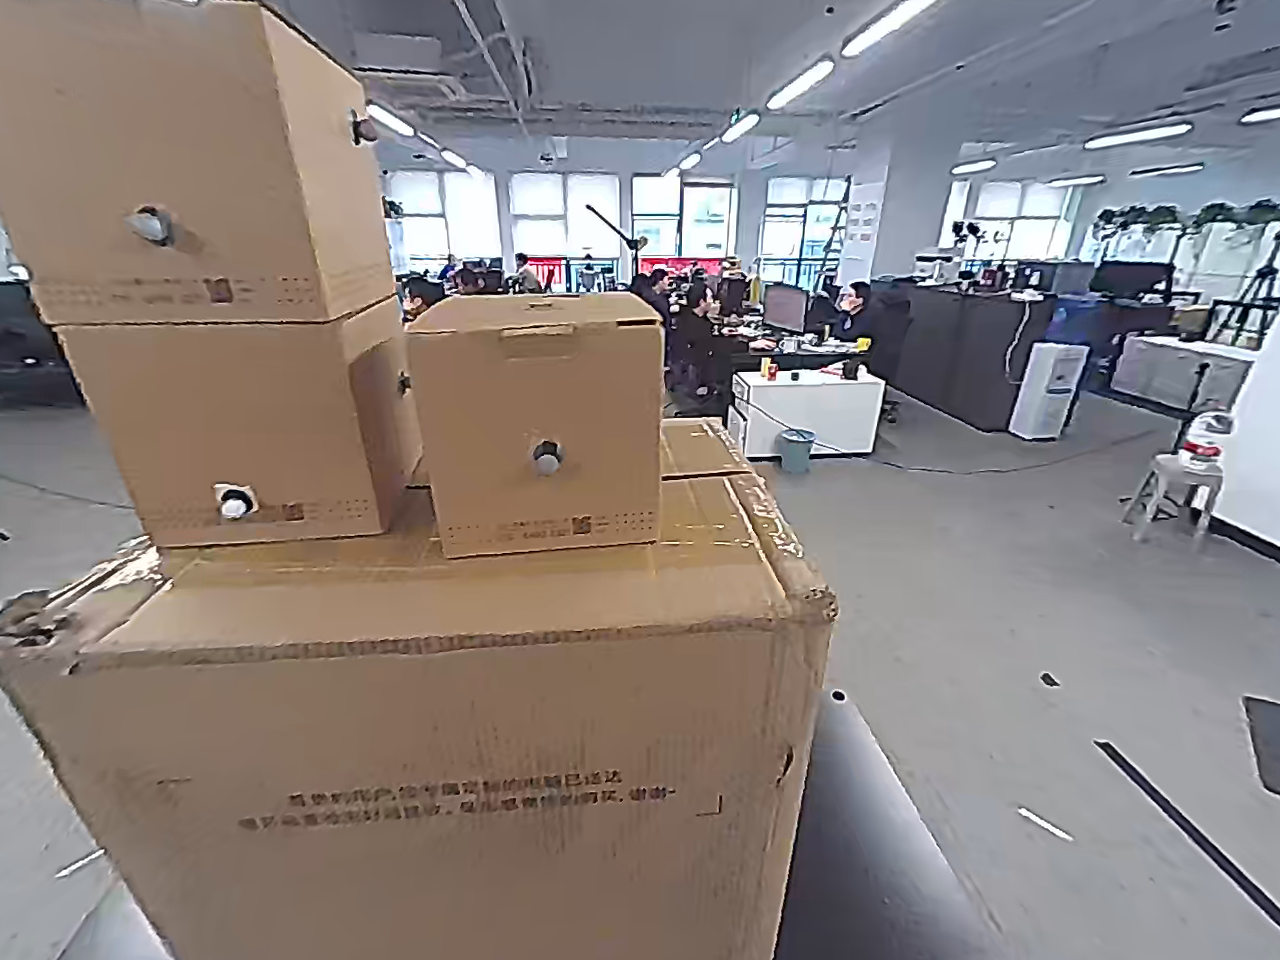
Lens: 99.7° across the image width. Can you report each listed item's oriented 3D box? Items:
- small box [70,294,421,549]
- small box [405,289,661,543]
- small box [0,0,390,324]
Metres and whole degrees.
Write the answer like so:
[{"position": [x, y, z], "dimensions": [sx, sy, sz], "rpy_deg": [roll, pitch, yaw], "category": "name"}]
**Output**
[{"position": [-0.292, -0.060, 0.455], "dimensions": [0.168, 0.176, 0.179], "rpy_deg": [-4, 26, -10], "category": "small box"}, {"position": [-0.075, -0.058, 0.449], "dimensions": [0.168, 0.176, 0.179], "rpy_deg": [-3, 27, -8], "category": "small box"}, {"position": [-0.292, -0.209, 0.384], "dimensions": [0.168, 0.176, 0.179], "rpy_deg": [-3, 25, -8], "category": "small box"}]
